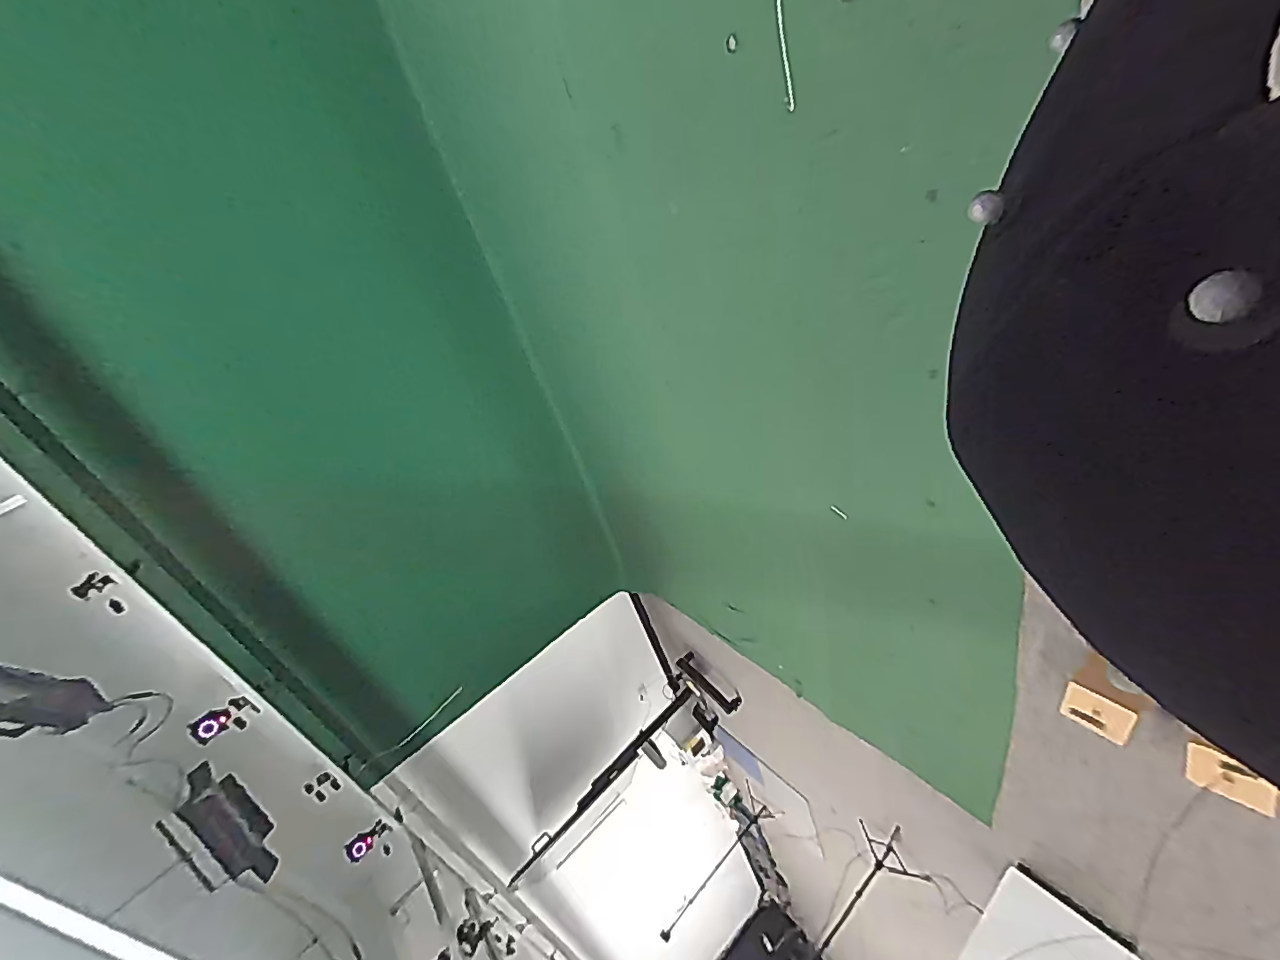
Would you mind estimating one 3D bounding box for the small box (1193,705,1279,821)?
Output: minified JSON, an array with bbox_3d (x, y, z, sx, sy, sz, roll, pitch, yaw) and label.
[{"bbox_3d":[1.610,0.739,1.432,0.168,0.176,0.179,15,135,56],"label":"small box"}]
